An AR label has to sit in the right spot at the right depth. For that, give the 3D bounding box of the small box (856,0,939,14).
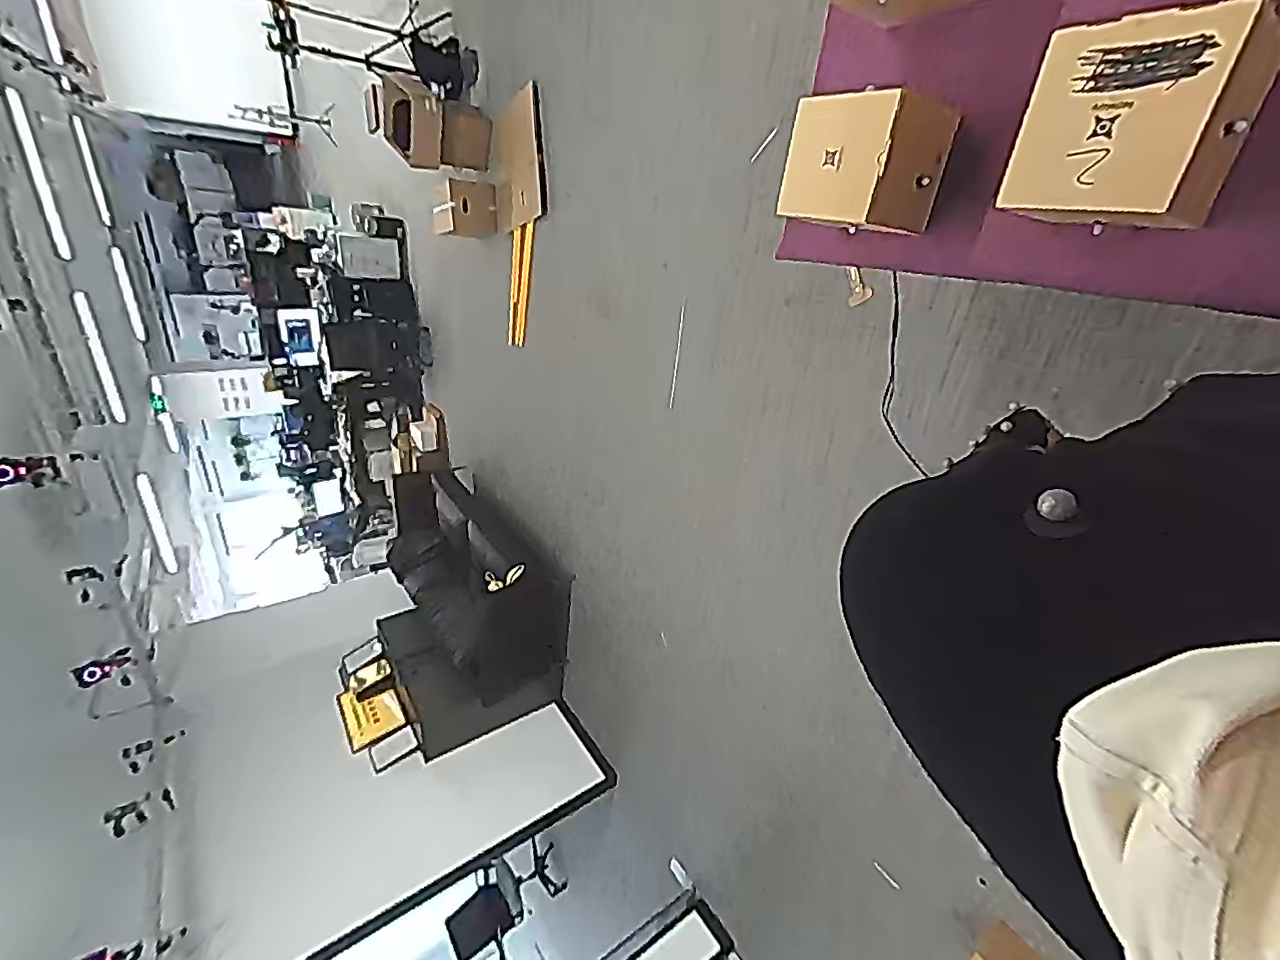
[{"bbox_3d":[0.373,-0.764,0.724,0.179,0.176,0.168,31,126,46],"label":"small box"}]

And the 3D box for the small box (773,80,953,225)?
[{"bbox_3d":[0.347,-0.505,0.852,0.179,0.176,0.168,35,127,44],"label":"small box"}]
